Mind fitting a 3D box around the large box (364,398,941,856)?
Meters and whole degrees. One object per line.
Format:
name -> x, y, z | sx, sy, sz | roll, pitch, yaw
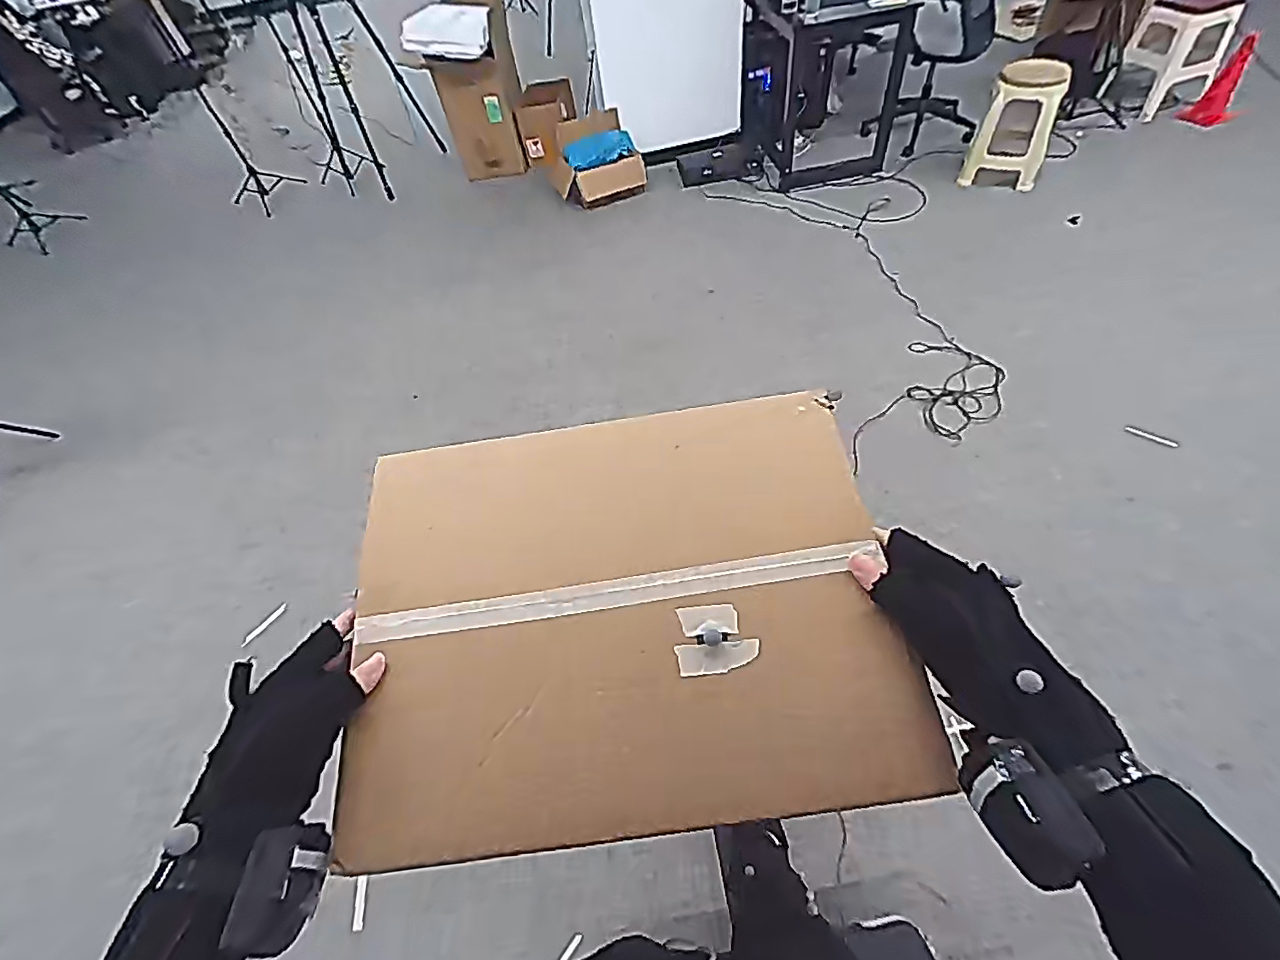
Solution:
large box -> 0.000, 0.157, 0.562 | 0.408, 0.320, 0.320 | -9, 63, 1
